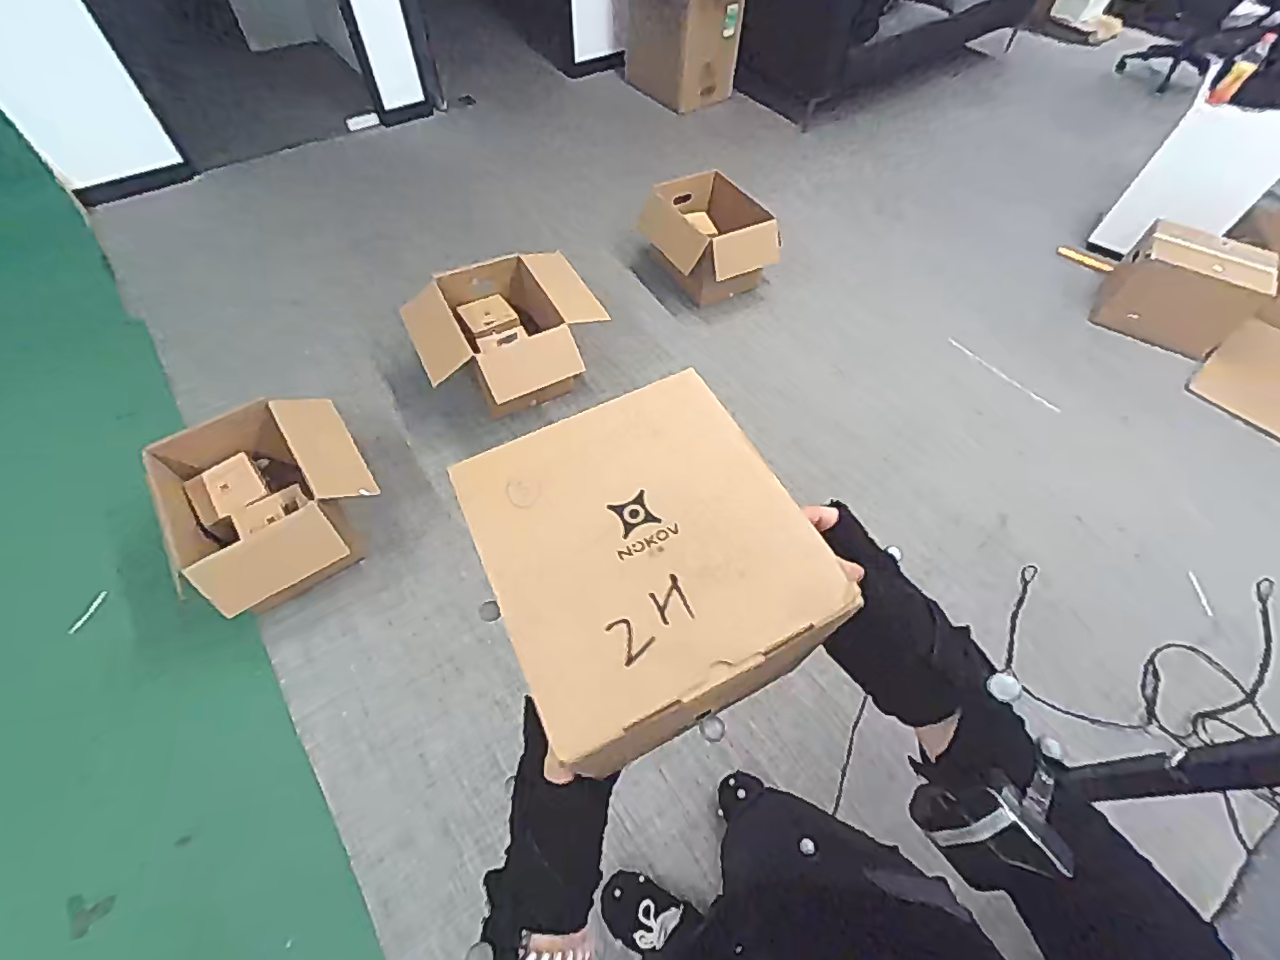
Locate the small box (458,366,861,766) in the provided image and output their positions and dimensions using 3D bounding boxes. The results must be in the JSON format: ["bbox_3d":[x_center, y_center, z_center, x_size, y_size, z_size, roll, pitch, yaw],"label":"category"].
[{"bbox_3d":[0.004,0.063,0.359,0.168,0.176,0.179,-24,60,-10],"label":"small box"}]
